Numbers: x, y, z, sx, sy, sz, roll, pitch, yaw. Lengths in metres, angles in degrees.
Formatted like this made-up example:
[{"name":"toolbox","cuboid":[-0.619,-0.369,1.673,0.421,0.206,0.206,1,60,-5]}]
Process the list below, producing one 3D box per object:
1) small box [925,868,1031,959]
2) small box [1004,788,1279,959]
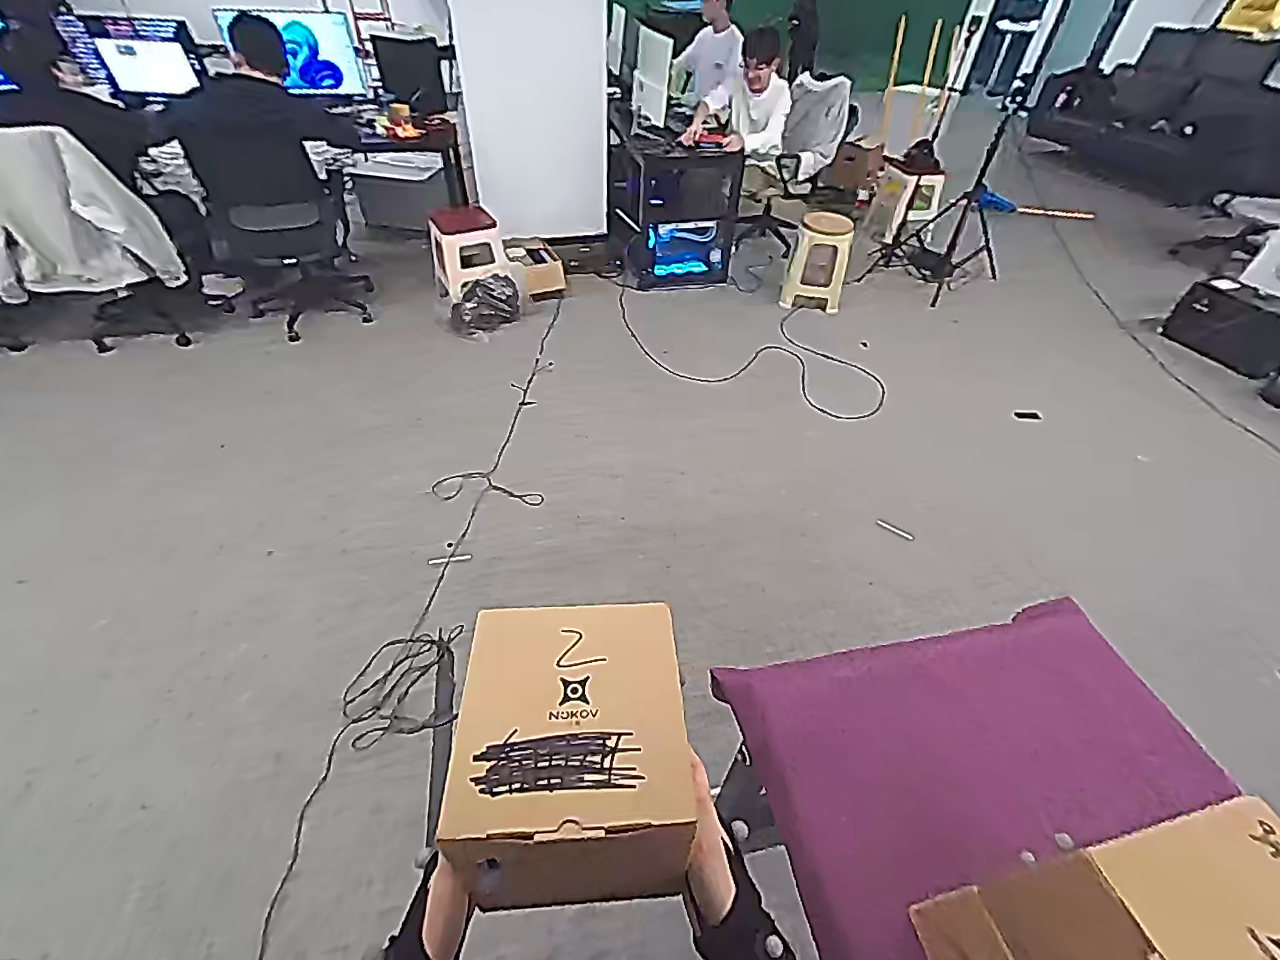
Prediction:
[{"name":"small box","cuboid":[0.417,0.492,0.536,0.179,0.176,0.168,-5,46,-10]},{"name":"small box","cuboid":[0.431,0.374,0.423,0.179,0.176,0.168,-8,46,-12]}]
